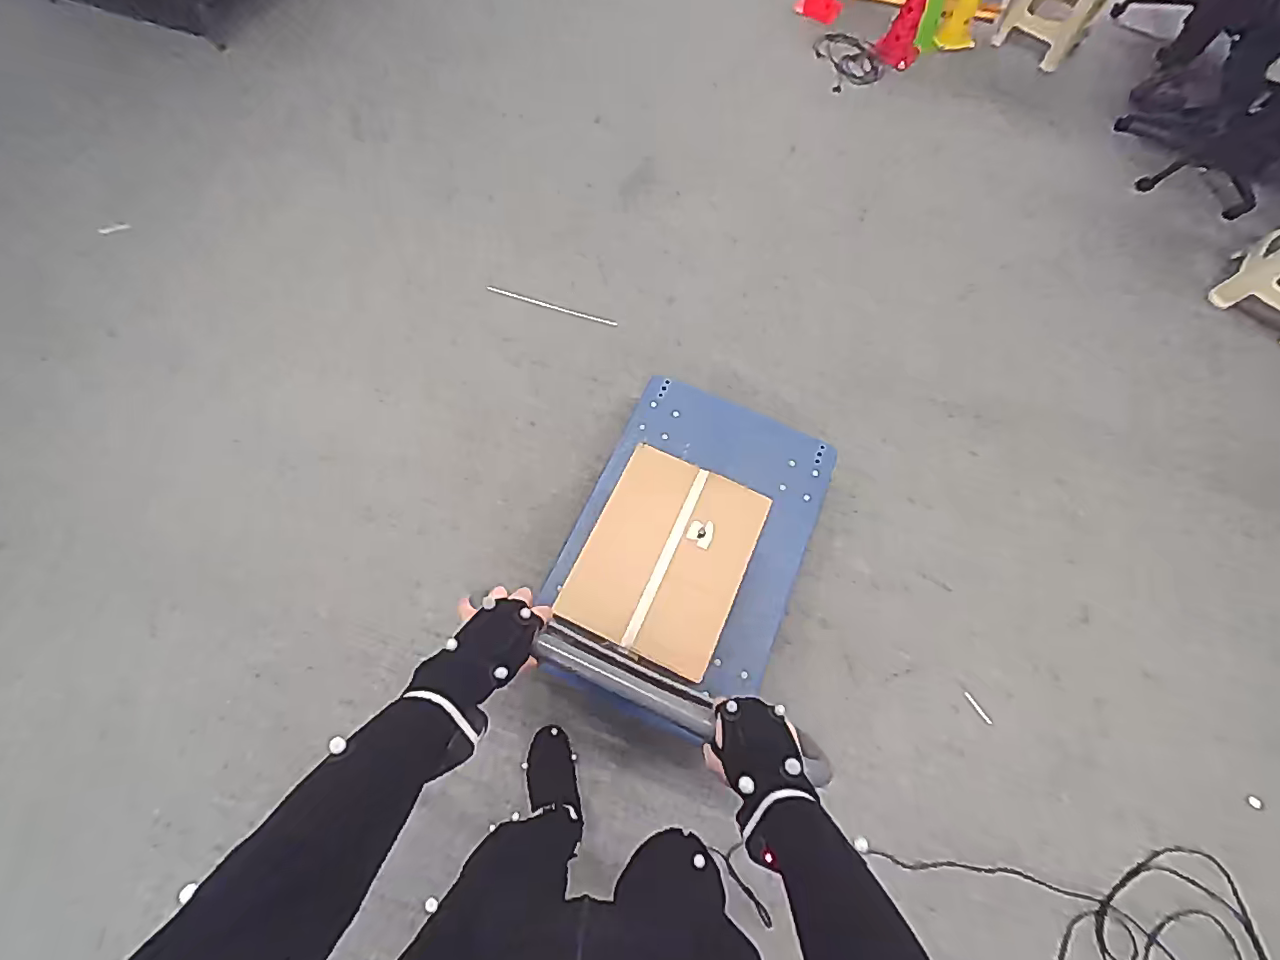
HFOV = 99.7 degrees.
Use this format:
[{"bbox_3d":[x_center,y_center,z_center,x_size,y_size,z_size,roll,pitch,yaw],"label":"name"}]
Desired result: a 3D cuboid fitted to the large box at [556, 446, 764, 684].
[{"bbox_3d":[0.044,0.206,1.239,0.320,0.320,0.408,24,67,7],"label":"large box"}]
